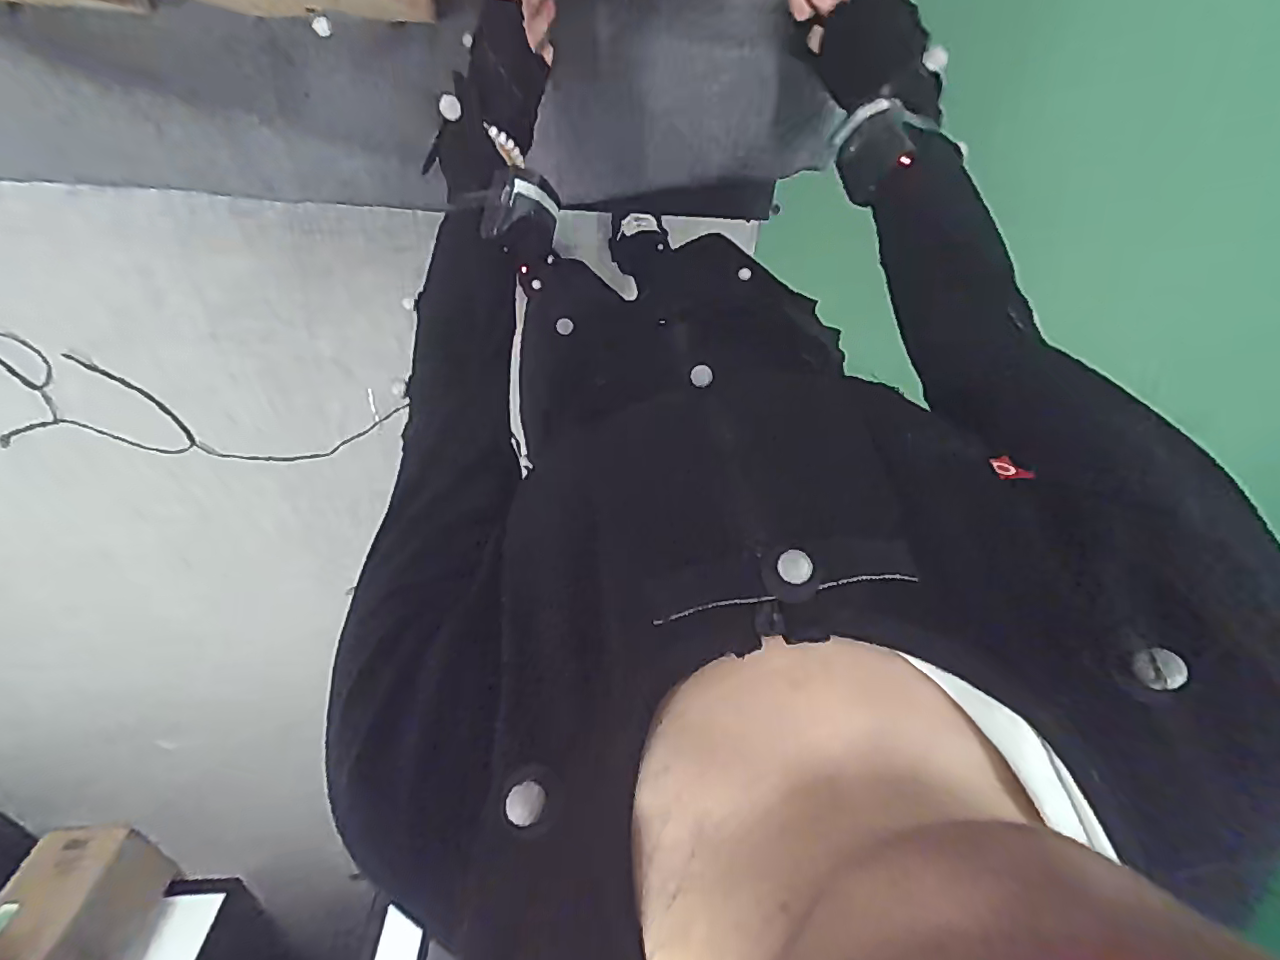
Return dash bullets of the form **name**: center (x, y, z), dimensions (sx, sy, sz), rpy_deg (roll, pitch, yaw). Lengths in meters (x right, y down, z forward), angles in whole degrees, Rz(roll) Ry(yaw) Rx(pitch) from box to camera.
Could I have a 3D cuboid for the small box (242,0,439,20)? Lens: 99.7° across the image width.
- **small box**: center (-0.250, -0.437, 0.362), dimensions (0.168, 0.176, 0.179), rpy_deg (0, 125, -3)
